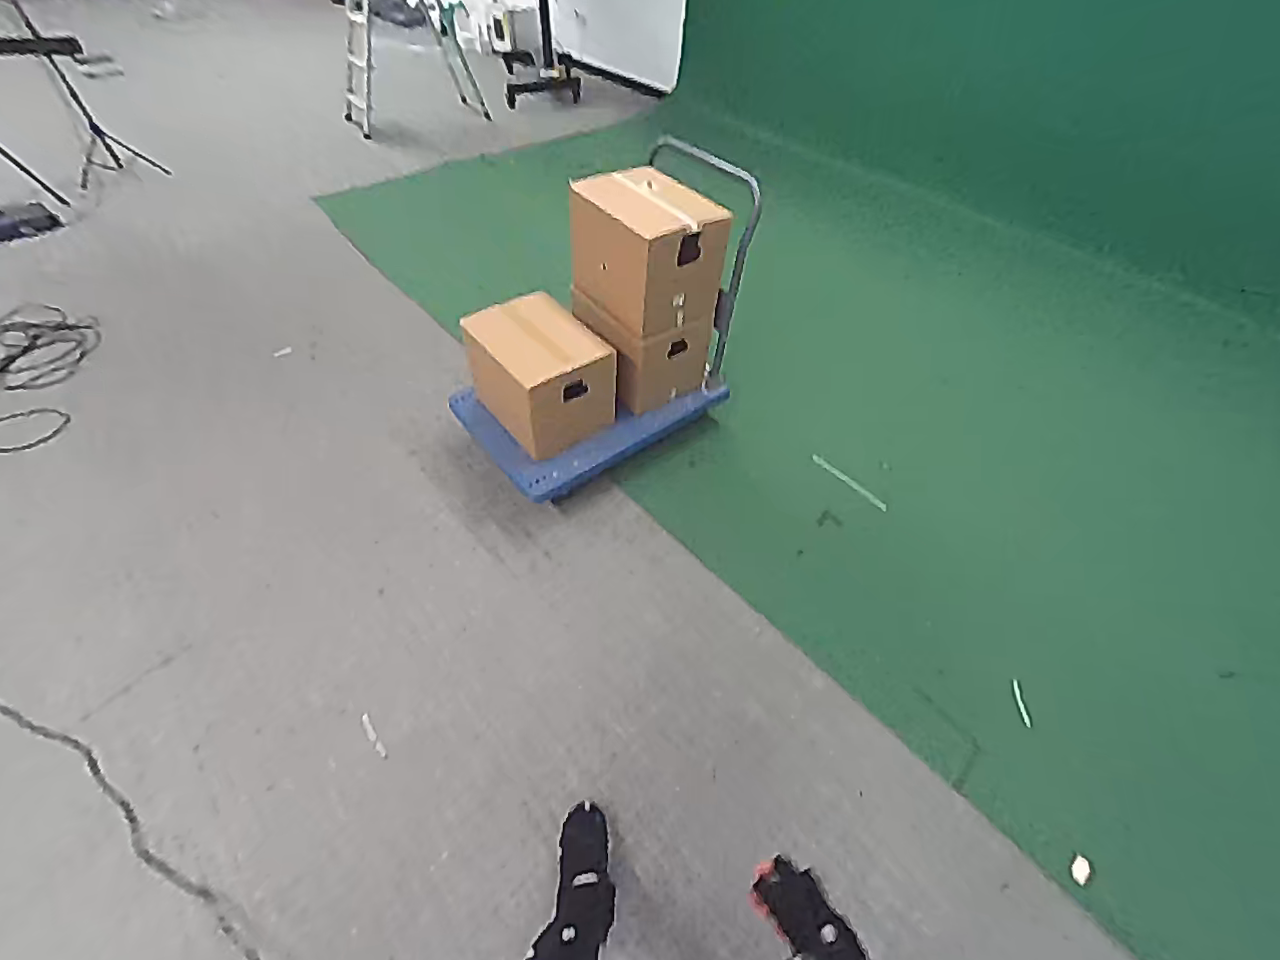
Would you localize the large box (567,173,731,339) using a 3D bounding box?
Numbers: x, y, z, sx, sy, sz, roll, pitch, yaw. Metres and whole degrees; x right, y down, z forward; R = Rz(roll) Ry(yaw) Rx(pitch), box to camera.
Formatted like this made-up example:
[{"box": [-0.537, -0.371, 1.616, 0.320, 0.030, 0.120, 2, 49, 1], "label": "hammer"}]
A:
[{"box": [0.017, -0.700, 1.680, 0.320, 0.320, 0.408, -27, 55, -26], "label": "large box"}]
